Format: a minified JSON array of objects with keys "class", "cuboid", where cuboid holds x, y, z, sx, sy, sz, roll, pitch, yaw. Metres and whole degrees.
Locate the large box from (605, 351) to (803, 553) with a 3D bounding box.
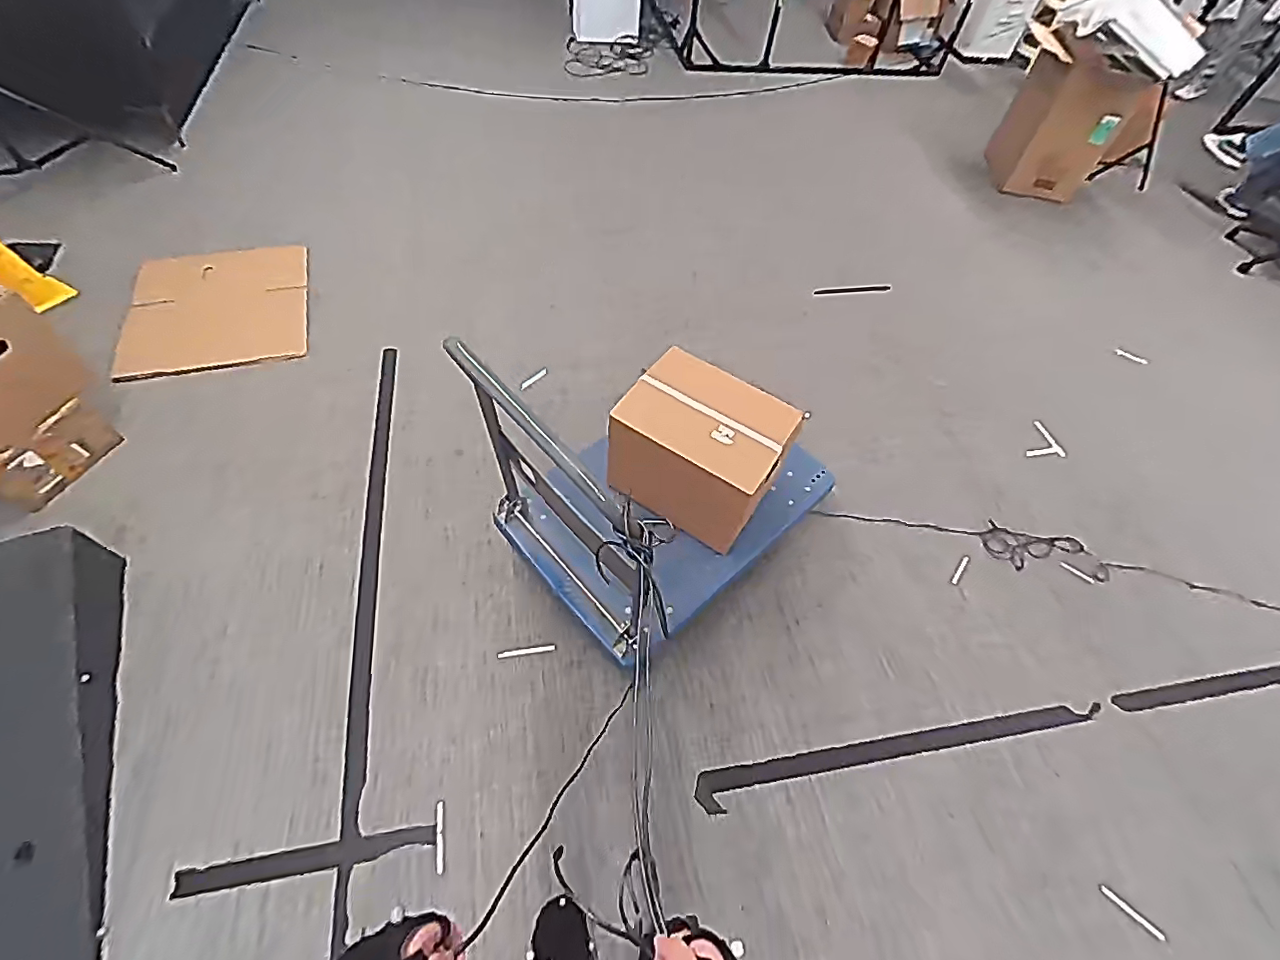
[{"class":"large box","cuboid":[0.156,-0.075,1.473,0.408,0.320,0.320,31,59,14]}]
